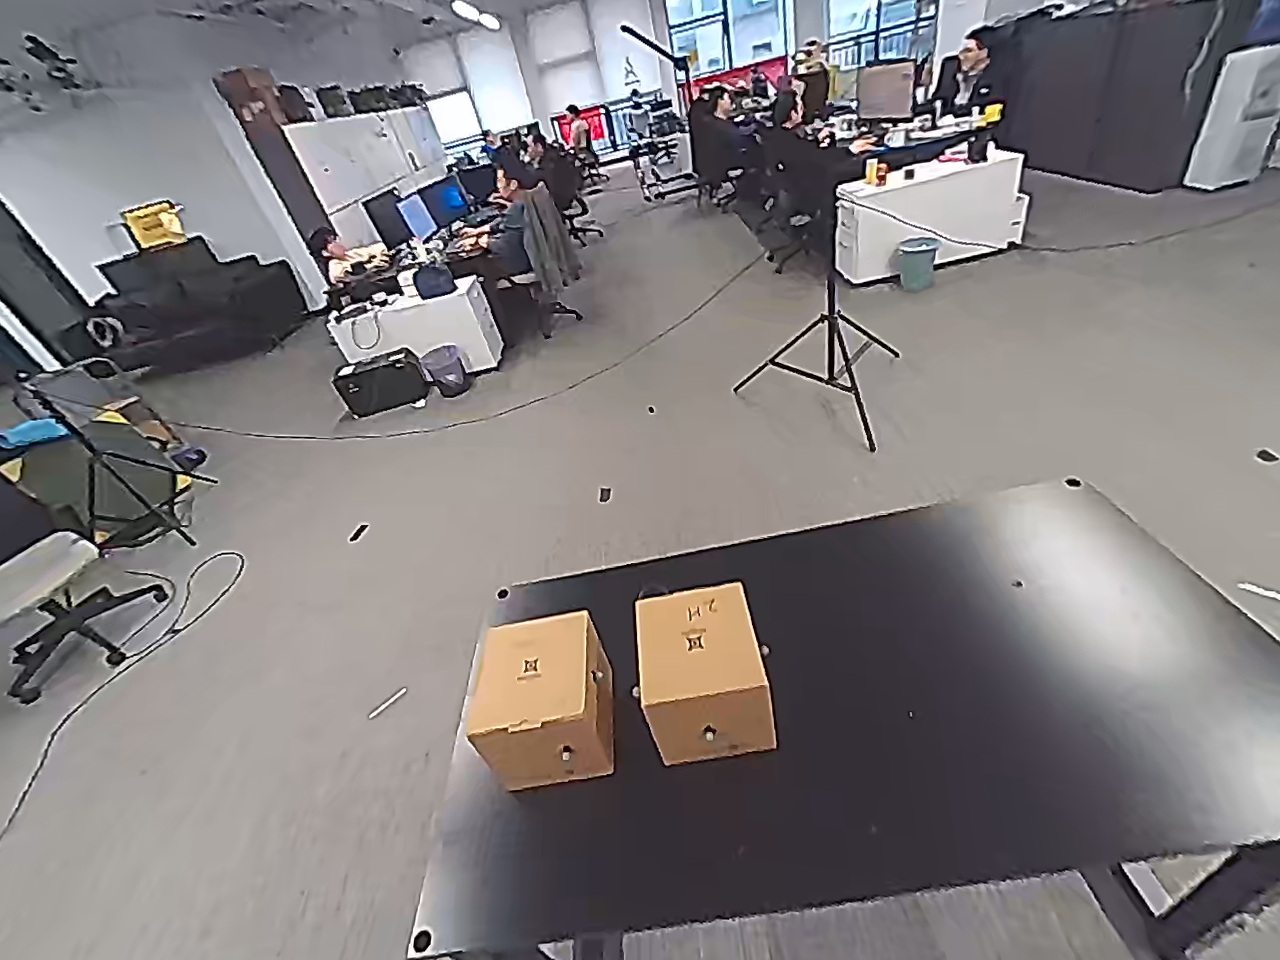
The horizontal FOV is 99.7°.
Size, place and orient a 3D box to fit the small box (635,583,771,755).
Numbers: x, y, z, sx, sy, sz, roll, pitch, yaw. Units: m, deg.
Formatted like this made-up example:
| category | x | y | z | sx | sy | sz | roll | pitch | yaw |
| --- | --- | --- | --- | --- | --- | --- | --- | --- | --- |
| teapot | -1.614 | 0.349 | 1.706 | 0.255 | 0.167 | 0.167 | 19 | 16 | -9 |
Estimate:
| category | x | y | z | sx | sy | sz | roll | pitch | yaw |
| --- | --- | --- | --- | --- | --- | --- | --- | --- | --- |
| small box | 0.092 | 0.284 | 0.802 | 0.168 | 0.176 | 0.179 | -11 | 36 | 5 |

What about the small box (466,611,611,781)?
| category | x | y | z | sx | sy | sz | roll | pitch | yaw |
| --- | --- | --- | --- | --- | --- | --- | --- | --- | --- |
| small box | -0.142 | 0.333 | 0.825 | 0.168 | 0.176 | 0.179 | -11 | 35 | 3 |
